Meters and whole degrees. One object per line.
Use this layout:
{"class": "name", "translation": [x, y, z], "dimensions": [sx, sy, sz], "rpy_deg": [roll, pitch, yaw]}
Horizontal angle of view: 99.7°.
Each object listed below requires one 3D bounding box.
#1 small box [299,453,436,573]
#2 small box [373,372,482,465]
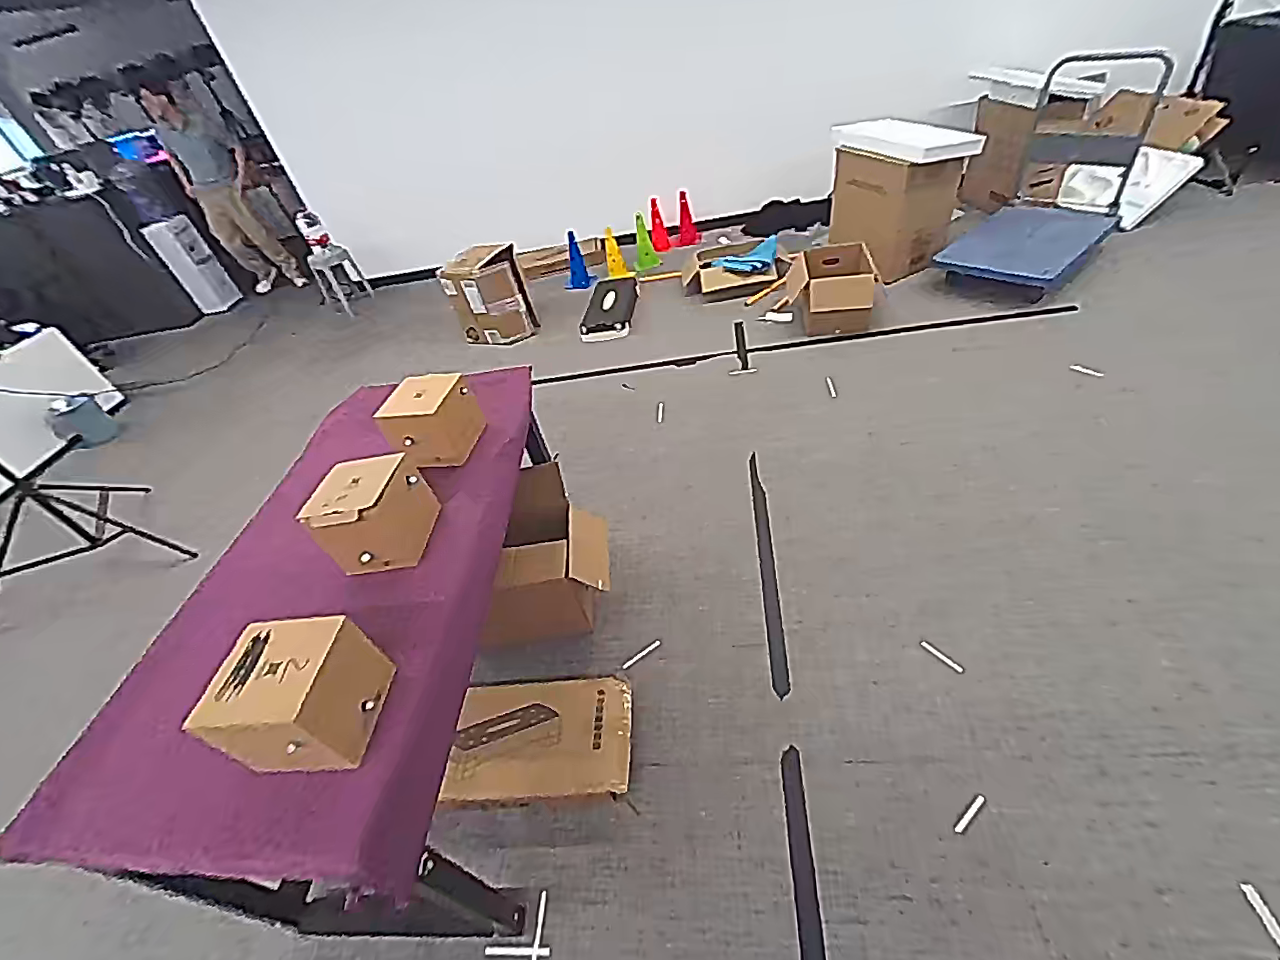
{"class": "small box", "translation": [-0.551, 0.070, 1.128], "dimensions": [0.168, 0.176, 0.179], "rpy_deg": [-9, 42, 10]}
{"class": "small box", "translation": [-0.521, -0.148, 1.359], "dimensions": [0.168, 0.176, 0.179], "rpy_deg": [-2, 43, 13]}
